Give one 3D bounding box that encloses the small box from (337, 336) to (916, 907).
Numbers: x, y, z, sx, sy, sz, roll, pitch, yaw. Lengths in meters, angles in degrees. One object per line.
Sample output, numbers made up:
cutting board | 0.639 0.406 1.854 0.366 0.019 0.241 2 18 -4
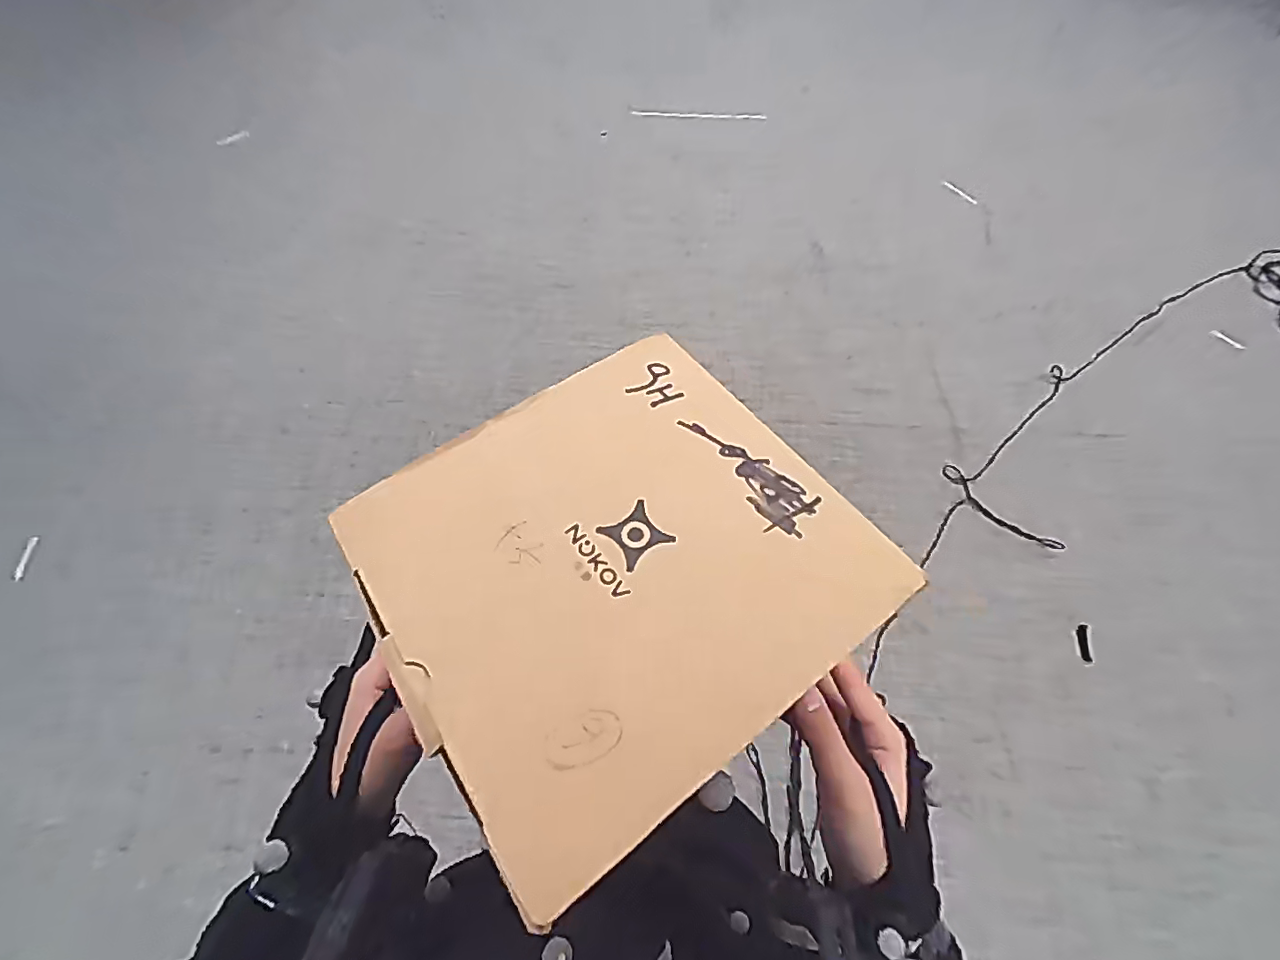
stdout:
small box | -0.008 0.067 0.280 0.179 0.176 0.168 -33 64 -17
